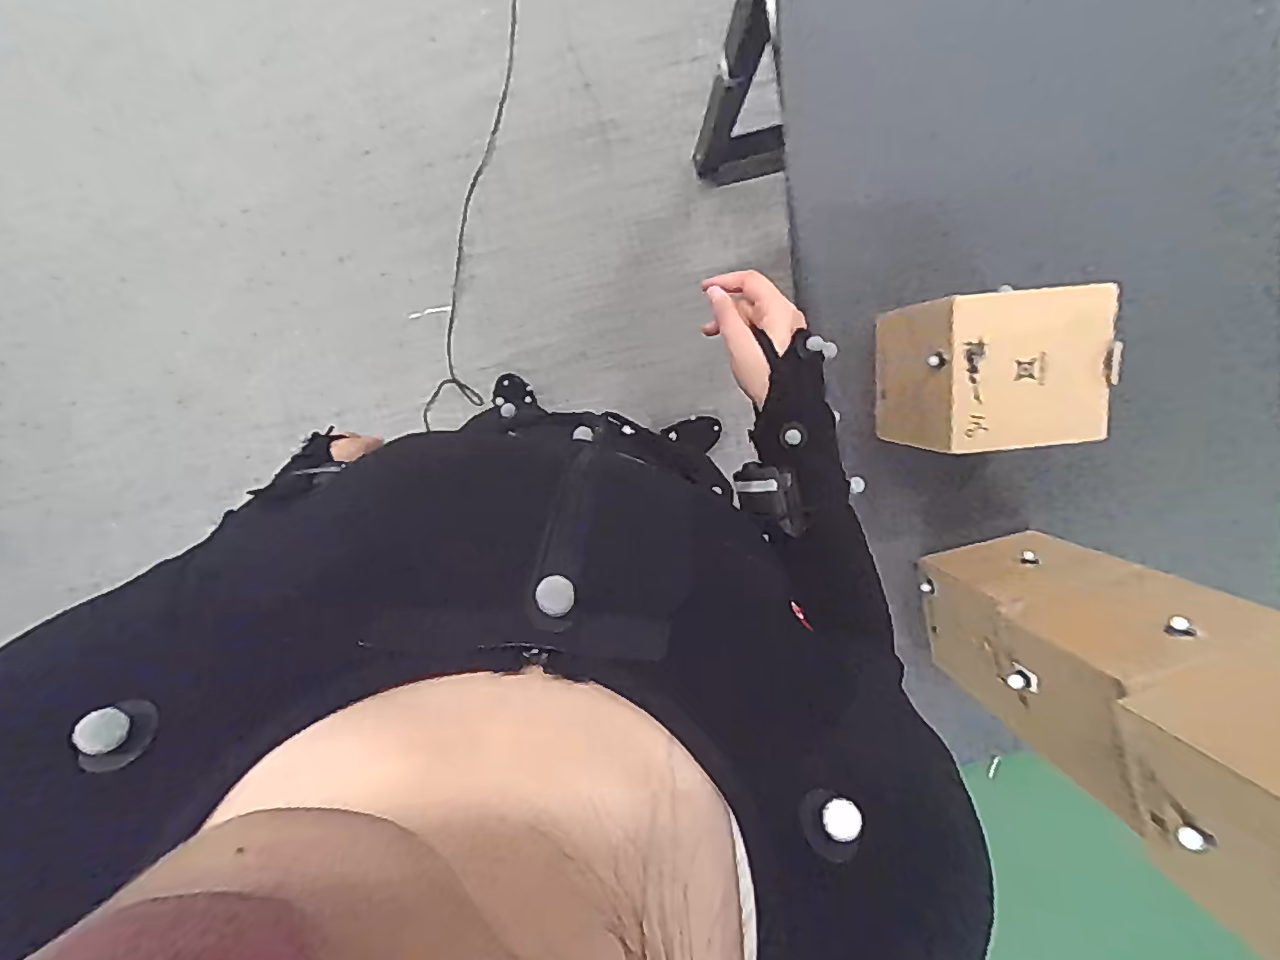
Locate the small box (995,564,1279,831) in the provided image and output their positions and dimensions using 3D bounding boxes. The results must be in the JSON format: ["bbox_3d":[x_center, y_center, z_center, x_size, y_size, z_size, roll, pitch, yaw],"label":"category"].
[{"bbox_3d":[0.508,0.201,0.545,0.179,0.176,0.168,-17,99,0],"label":"small box"}]

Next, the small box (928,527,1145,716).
[{"bbox_3d":[0.503,0.173,0.705,0.179,0.176,0.168,-14,100,-2],"label":"small box"}]

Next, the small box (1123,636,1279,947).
[{"bbox_3d":[0.509,0.230,0.382,0.179,0.176,0.168,-20,98,0],"label":"small box"}]

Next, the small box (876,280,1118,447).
[{"bbox_3d":[0.409,-0.137,0.648,0.179,0.176,0.168,-5,100,-3],"label":"small box"}]
